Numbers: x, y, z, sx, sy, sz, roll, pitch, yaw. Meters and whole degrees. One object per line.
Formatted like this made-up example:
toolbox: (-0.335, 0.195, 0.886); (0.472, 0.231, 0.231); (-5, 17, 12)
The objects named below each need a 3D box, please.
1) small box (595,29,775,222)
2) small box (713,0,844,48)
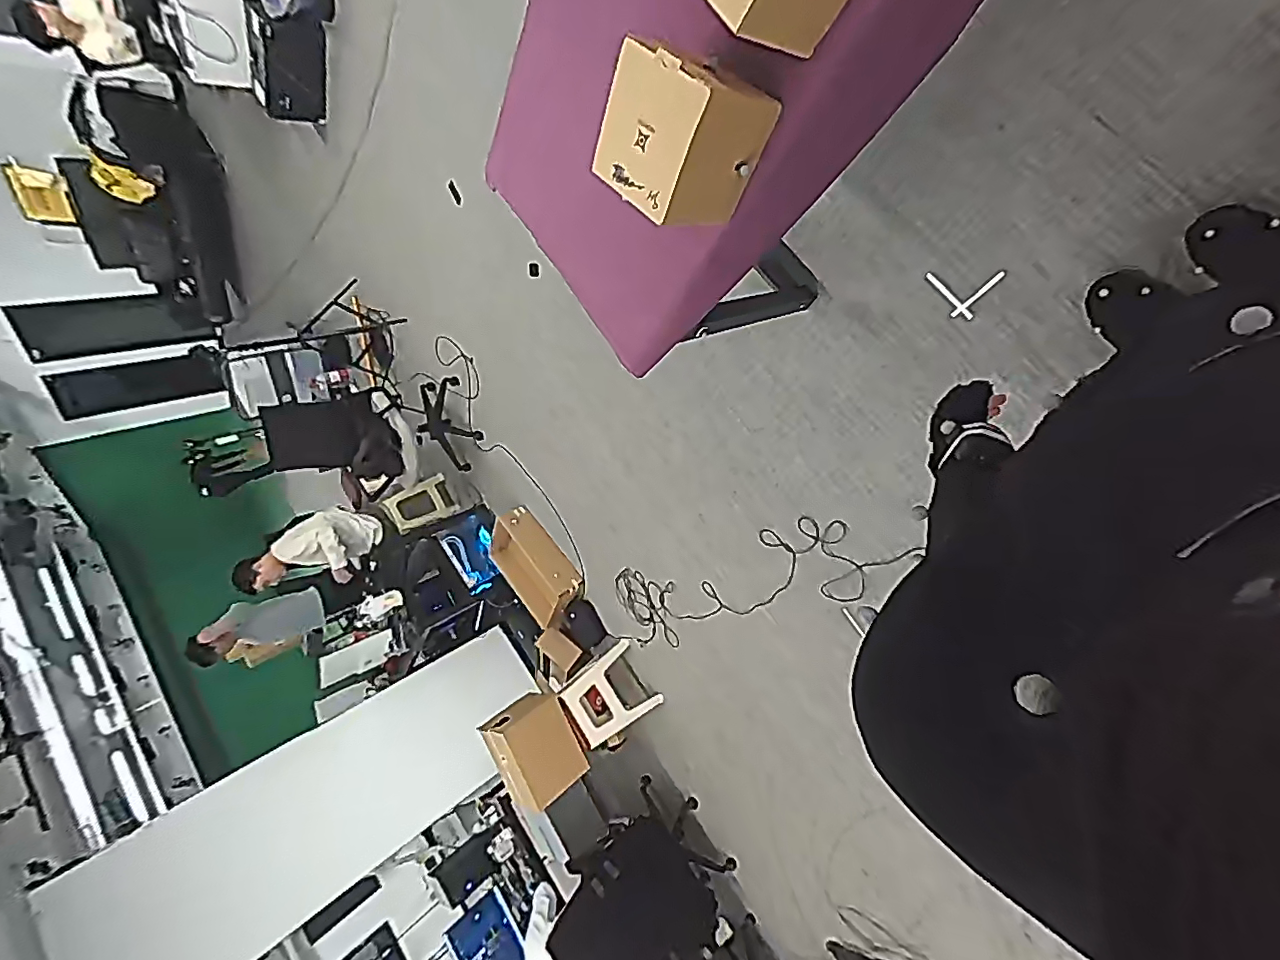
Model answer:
small box: (0.068, -0.500, 0.784); (0.168, 0.176, 0.179); (48, 136, 21)
small box: (0.163, -0.638, 0.606); (0.168, 0.176, 0.179); (58, 141, 10)
